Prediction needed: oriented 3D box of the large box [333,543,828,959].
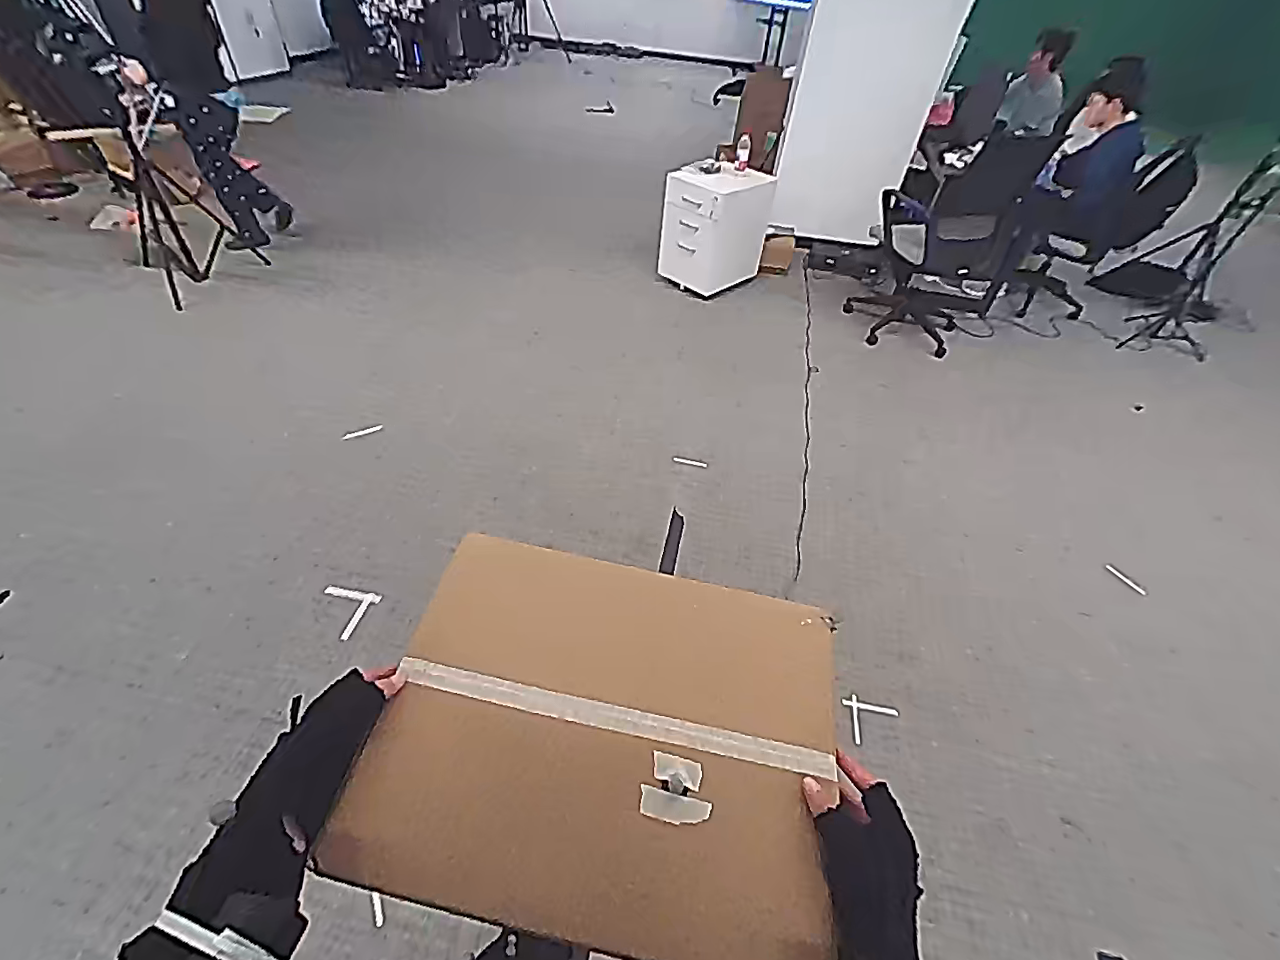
[{"bbox_3d":[-0.037,0.315,0.625,0.408,0.320,0.320,12,51,4],"label":"large box"}]
